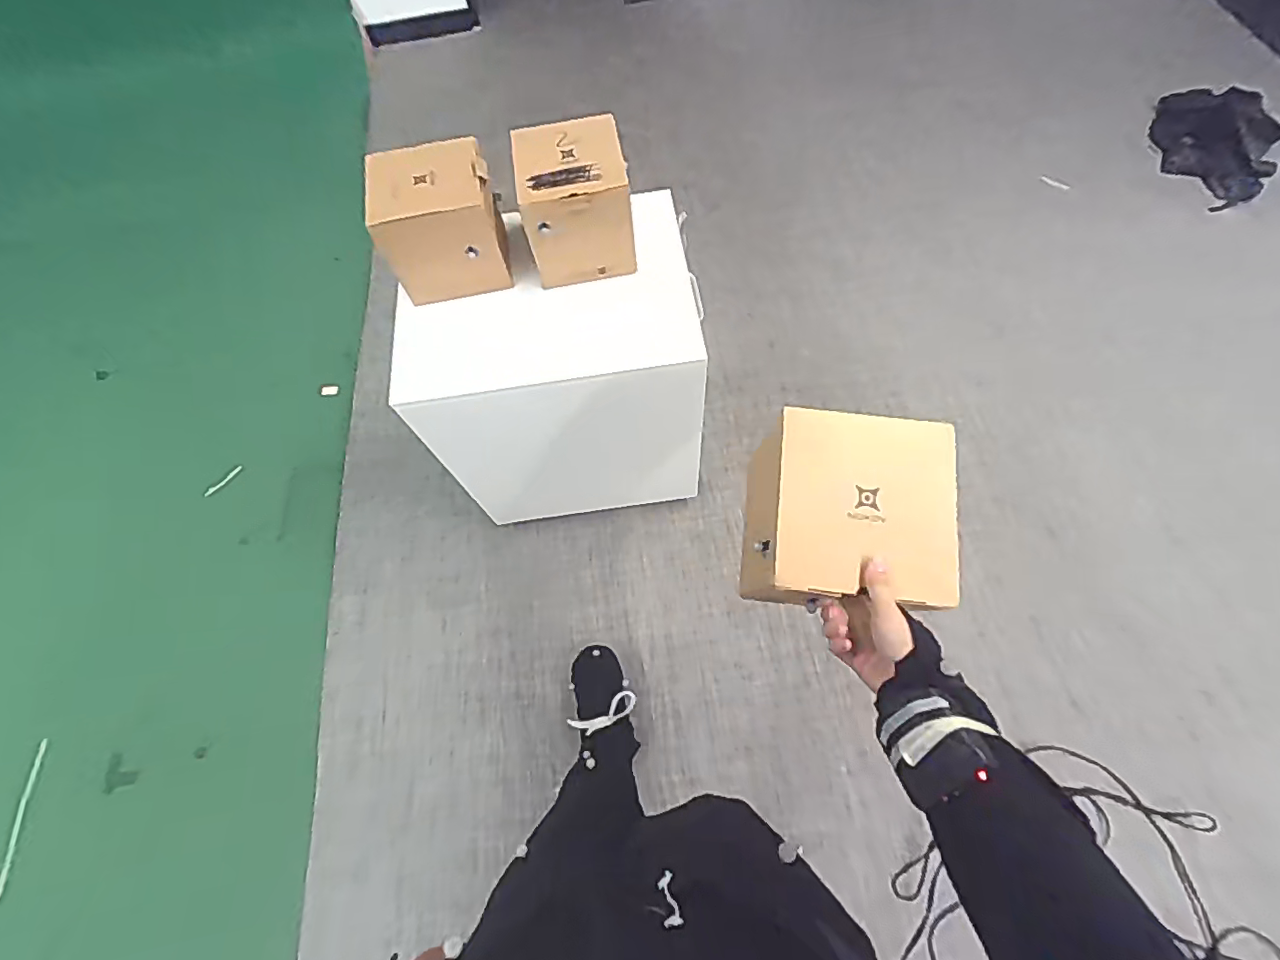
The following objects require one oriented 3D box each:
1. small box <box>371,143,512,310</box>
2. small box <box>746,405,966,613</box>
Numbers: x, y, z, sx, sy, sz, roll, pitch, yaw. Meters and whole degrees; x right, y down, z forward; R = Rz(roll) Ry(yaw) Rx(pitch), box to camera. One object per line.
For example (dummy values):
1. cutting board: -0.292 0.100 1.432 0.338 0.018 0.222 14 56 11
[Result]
1. small box: -0.317 -0.410 0.892 0.179 0.176 0.168 -13 64 -2
2. small box: 0.213 0.041 0.573 0.168 0.176 0.179 7 75 1
